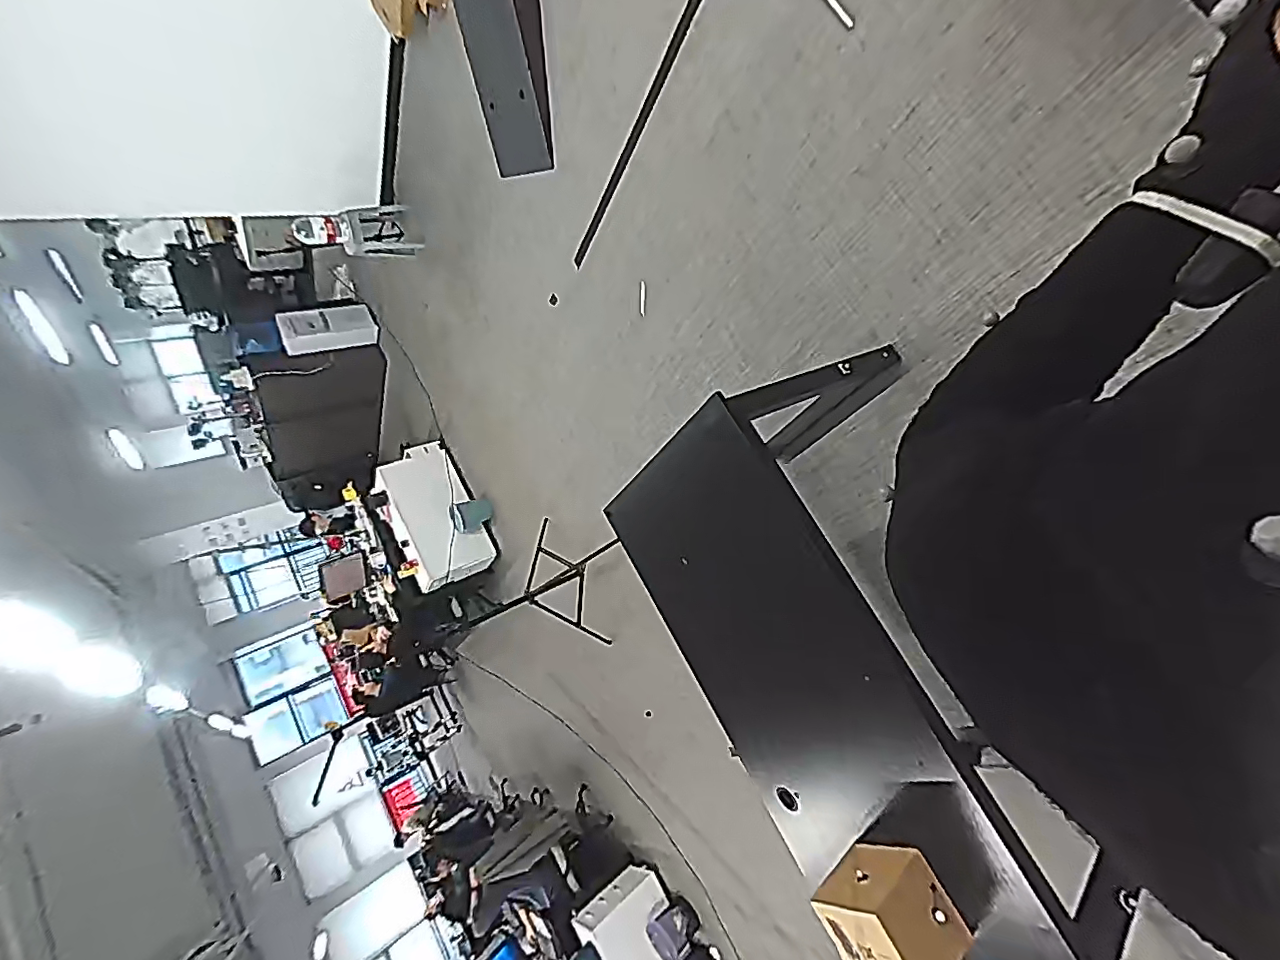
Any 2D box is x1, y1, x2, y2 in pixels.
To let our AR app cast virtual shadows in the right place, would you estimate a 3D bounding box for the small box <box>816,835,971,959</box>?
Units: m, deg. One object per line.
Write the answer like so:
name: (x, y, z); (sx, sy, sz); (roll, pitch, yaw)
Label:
small box: (0.486, 0.820, 1.041); (0.168, 0.176, 0.179); (59, 144, 13)
